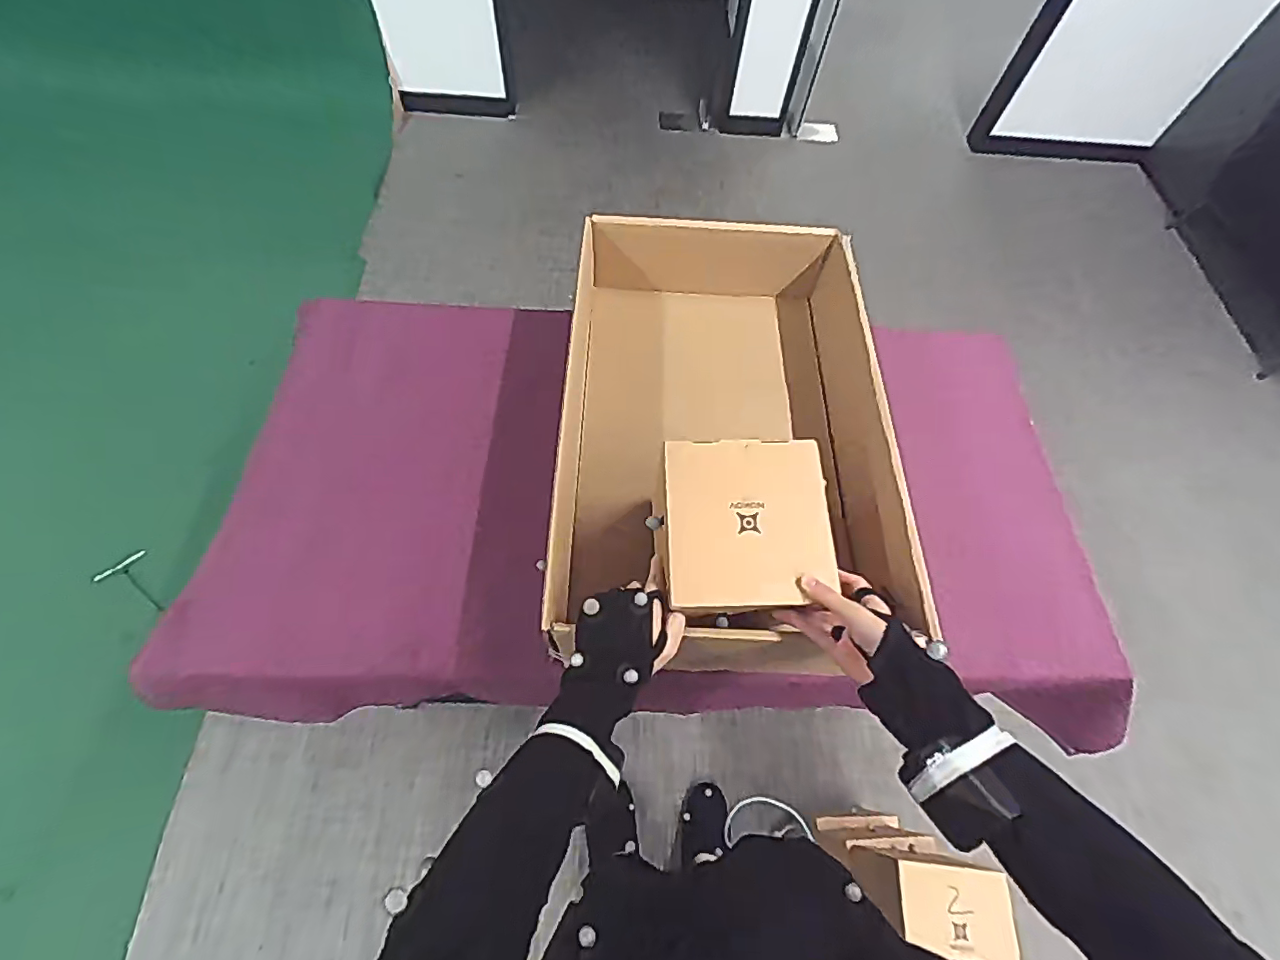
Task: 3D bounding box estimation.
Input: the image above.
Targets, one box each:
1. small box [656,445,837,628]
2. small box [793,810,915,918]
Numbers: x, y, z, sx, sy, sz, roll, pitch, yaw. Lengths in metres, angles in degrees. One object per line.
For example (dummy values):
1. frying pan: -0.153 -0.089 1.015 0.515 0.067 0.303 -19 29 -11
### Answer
1. small box: 0.106 0.074 0.620 0.168 0.176 0.179 -2 68 -2
2. small box: 0.445 0.809 1.153 0.179 0.176 0.168 0 63 -3
